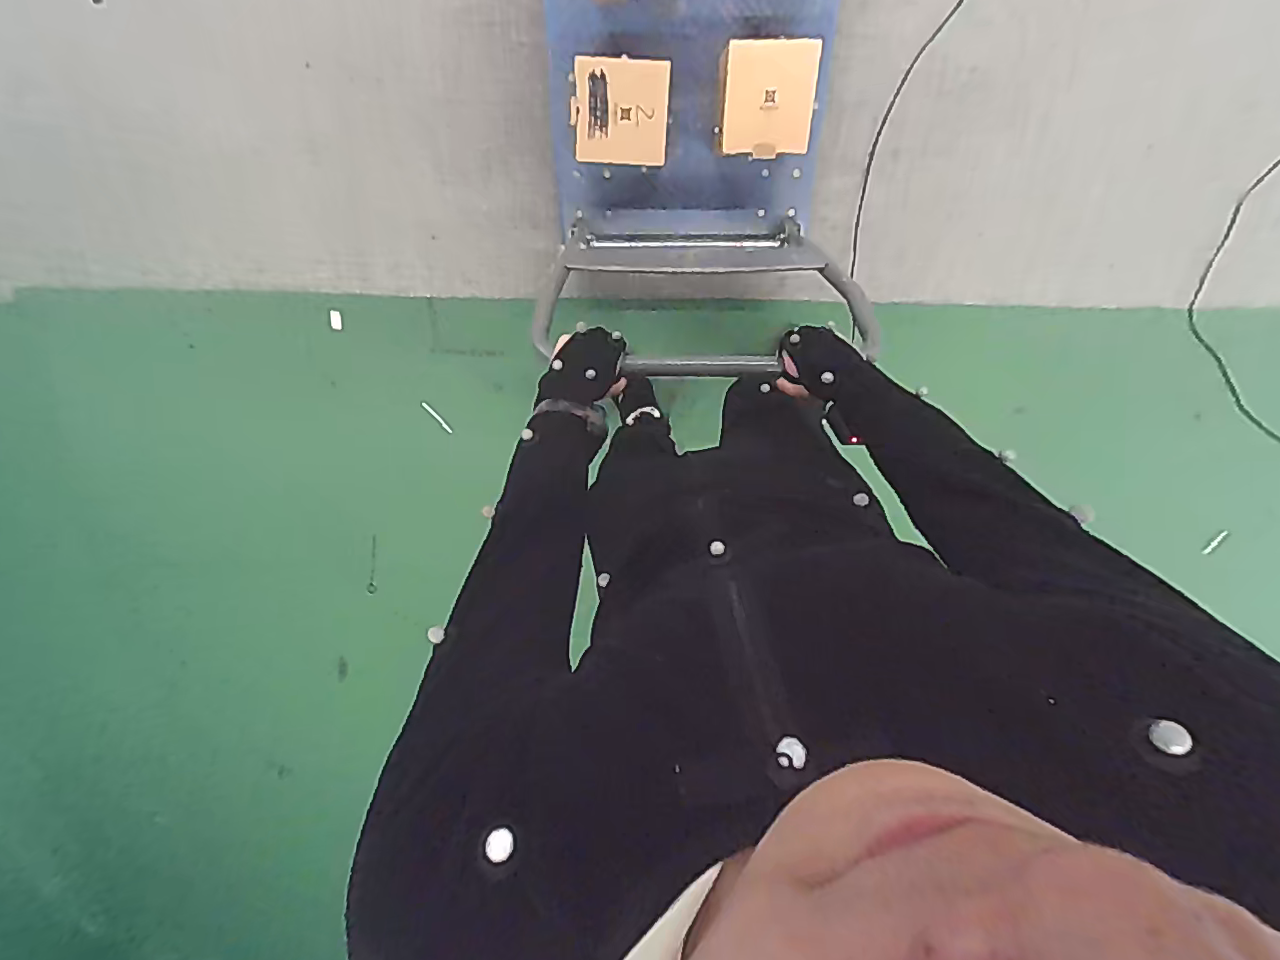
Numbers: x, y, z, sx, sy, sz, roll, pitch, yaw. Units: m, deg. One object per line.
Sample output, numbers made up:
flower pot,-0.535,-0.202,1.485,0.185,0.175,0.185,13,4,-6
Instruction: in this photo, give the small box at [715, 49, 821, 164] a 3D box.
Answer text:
small box,0.243,-0.733,1.075,0.168,0.176,0.179,1,121,1
